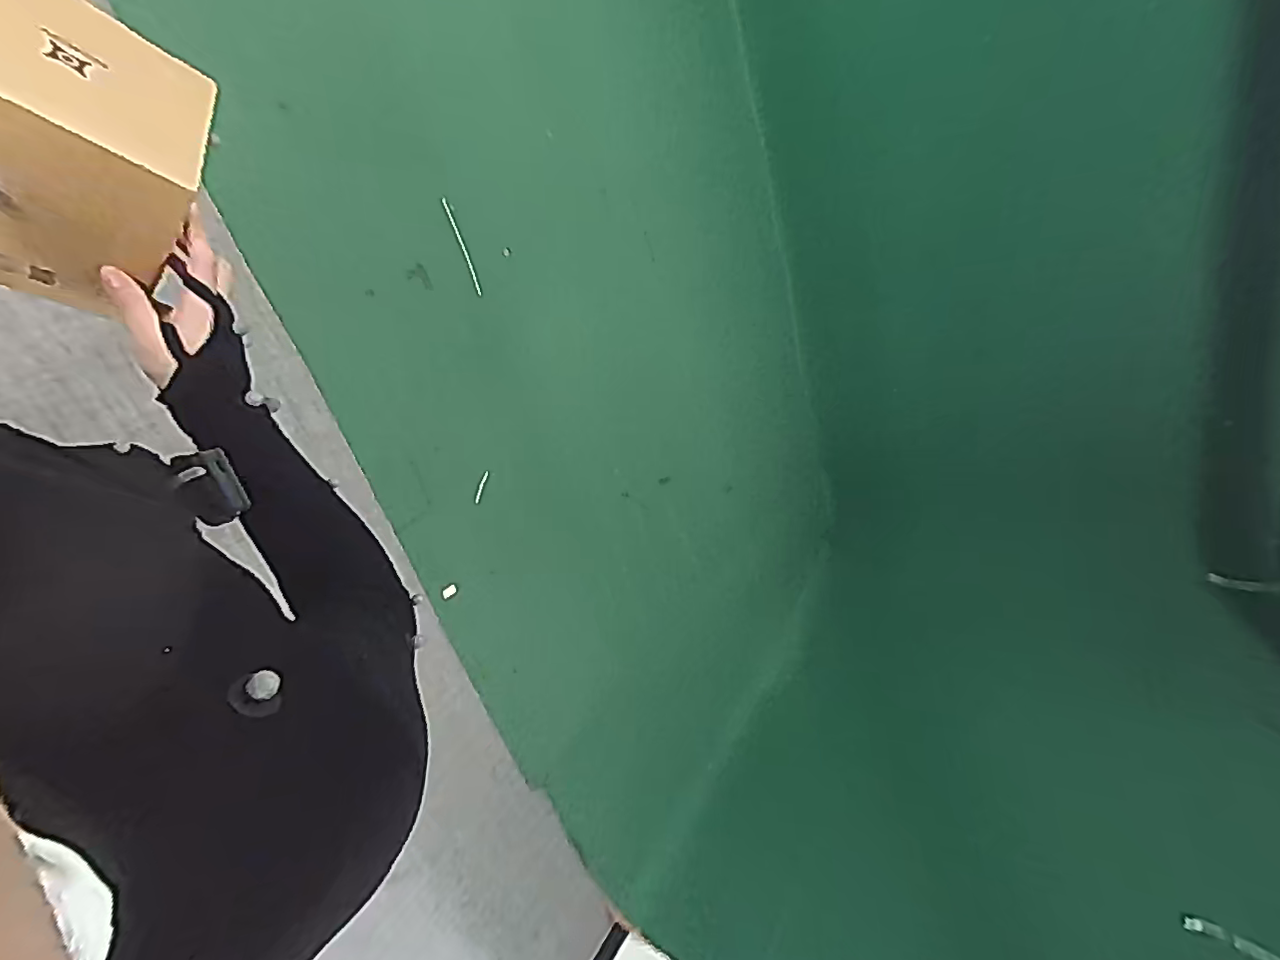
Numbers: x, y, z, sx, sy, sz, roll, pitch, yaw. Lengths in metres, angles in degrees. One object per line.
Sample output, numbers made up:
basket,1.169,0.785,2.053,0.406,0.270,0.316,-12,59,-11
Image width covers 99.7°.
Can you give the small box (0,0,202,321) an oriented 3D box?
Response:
small box,-0.475,-0.259,0.419,0.168,0.176,0.179,18,43,-49
